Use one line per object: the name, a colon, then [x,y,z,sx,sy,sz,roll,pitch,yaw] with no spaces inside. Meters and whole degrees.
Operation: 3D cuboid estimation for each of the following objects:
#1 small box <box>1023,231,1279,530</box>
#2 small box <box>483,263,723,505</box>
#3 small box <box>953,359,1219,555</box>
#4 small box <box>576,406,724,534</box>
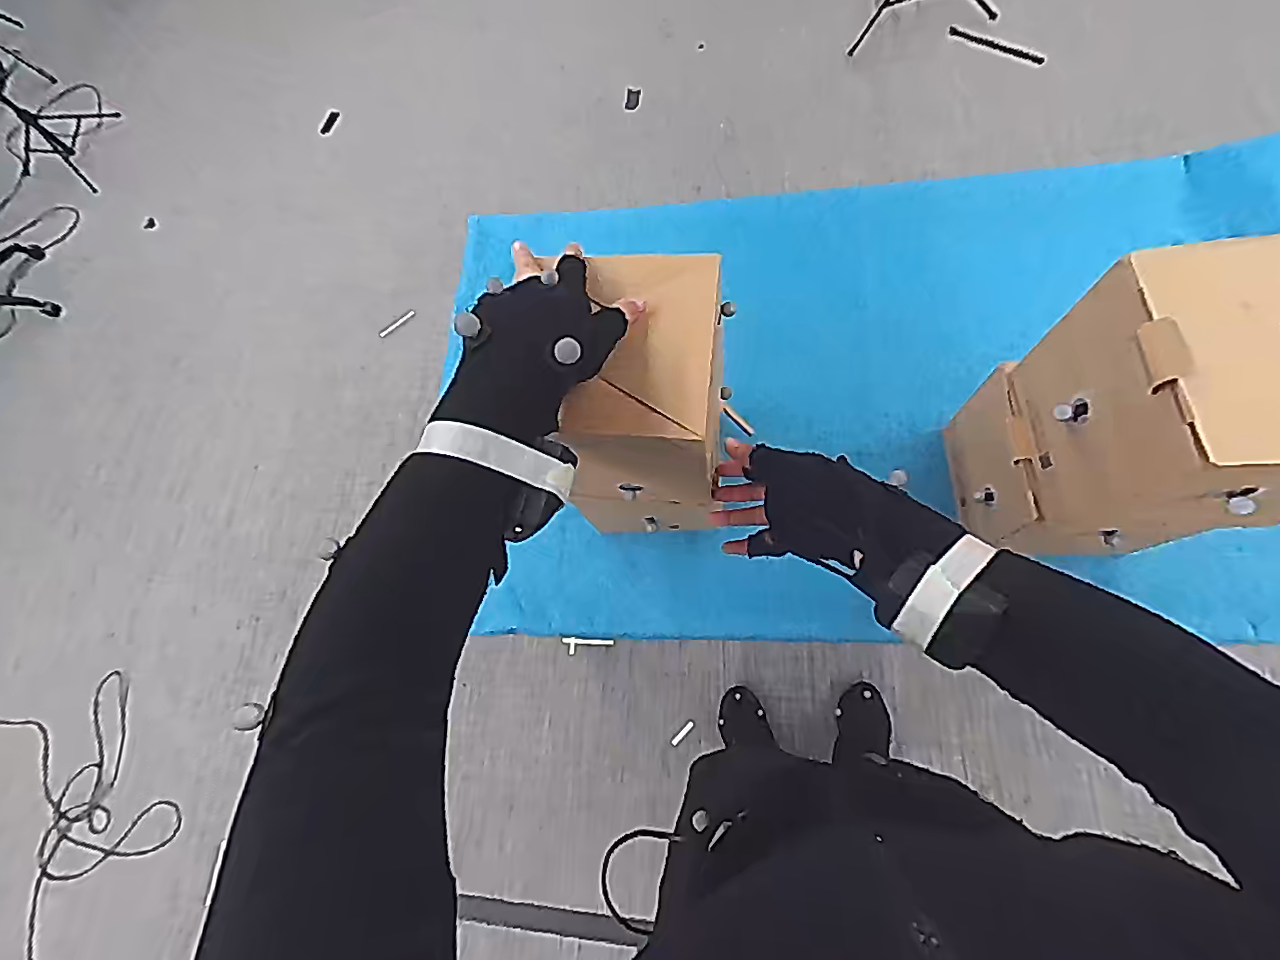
small box: [0.433,-0.063,0.415,0.179,0.176,0.168,-5,70,8]
small box: [-0.018,-0.080,0.501,0.179,0.176,0.168,4,72,11]
small box: [0.454,-0.017,0.570,0.179,0.176,0.168,-2,71,10]
small box: [0.013,-0.040,0.659,0.168,0.176,0.179,0,73,12]
